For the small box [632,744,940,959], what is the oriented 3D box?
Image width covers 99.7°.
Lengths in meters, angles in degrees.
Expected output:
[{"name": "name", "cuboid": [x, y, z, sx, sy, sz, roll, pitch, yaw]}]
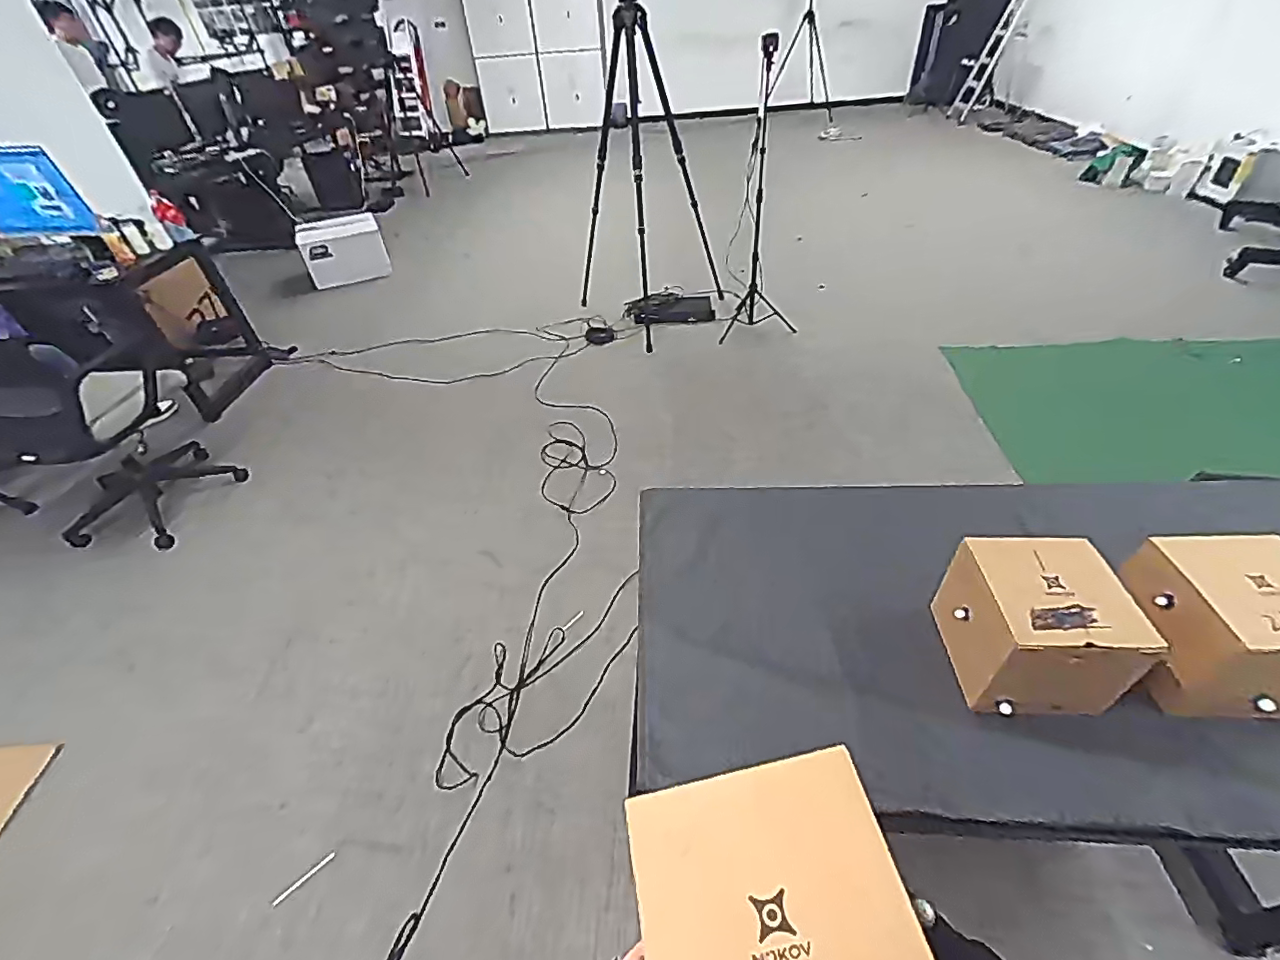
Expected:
[{"name": "small box", "cuboid": [0.099, 0.320, 0.382, 0.168, 0.176, 0.179, -15, 45, 1]}]

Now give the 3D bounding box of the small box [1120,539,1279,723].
[{"name": "small box", "cuboid": [0.774, 0.197, 0.718, 0.168, 0.176, 0.179, -1, 41, 5]}]

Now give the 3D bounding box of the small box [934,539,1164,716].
[{"name": "small box", "cuboid": [0.533, 0.201, 0.739, 0.168, 0.176, 0.179, 0, 41, 6]}]
